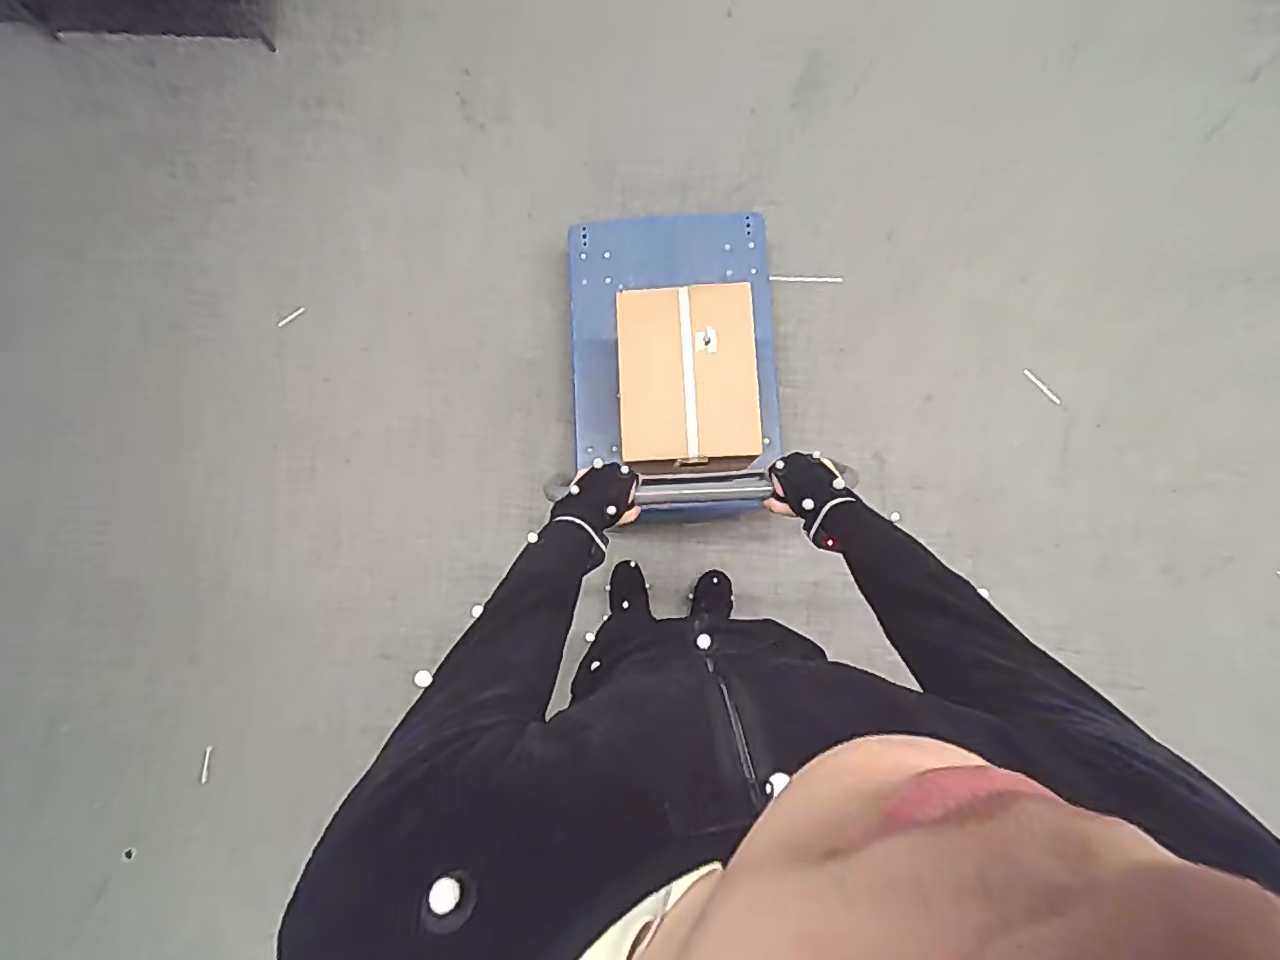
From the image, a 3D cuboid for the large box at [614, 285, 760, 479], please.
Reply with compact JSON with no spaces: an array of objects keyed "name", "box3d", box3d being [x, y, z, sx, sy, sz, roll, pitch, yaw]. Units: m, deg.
[{"name":"large box","box3d":[0.112,-0.227,1.380,0.320,0.320,0.408,-3,82,2]}]
